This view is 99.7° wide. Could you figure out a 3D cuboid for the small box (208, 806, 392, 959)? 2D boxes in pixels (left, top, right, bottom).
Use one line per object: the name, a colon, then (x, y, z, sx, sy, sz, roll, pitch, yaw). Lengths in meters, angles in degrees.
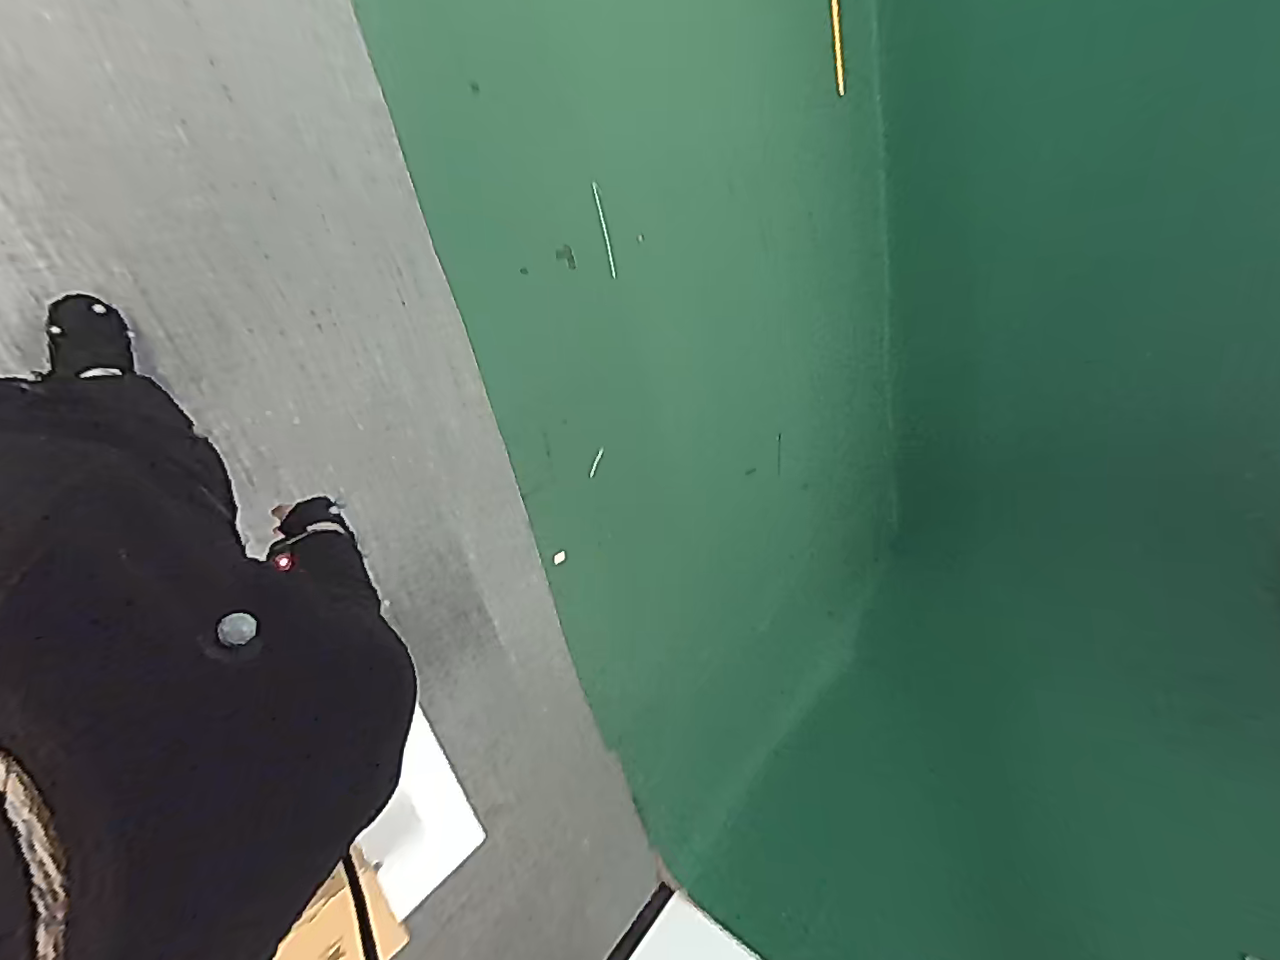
small box: (-0.509, 0.643, 0.813, 0.168, 0.176, 0.179, -29, 117, -40)
